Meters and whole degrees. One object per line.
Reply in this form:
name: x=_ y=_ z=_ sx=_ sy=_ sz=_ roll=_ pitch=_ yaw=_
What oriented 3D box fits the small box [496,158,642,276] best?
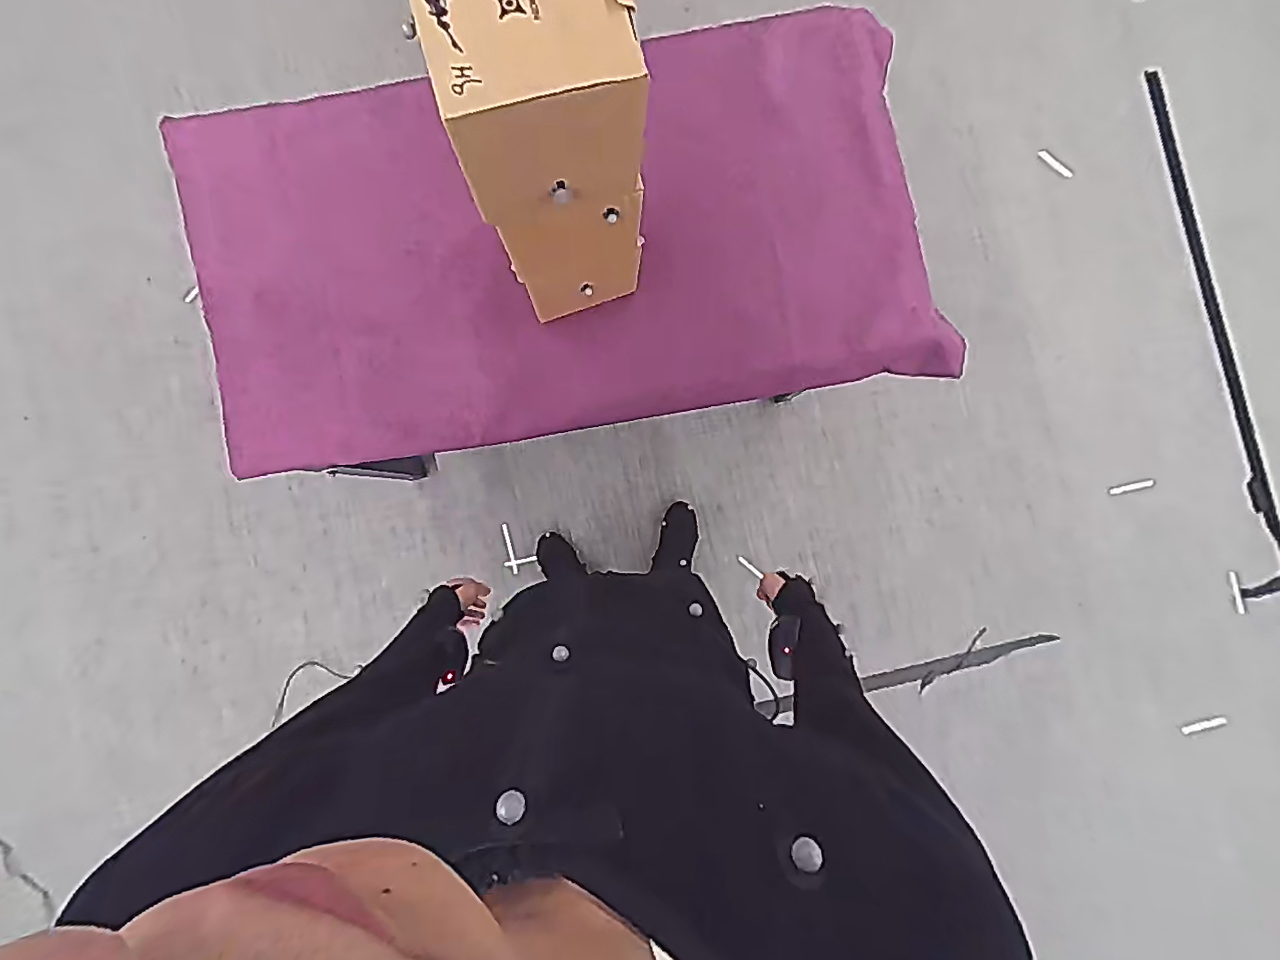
small box: x=-0.104 y=-0.382 z=0.687 sx=0.179 sy=0.176 sz=0.168 roll=-15 pitch=89 yaw=-4

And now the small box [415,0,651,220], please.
small box: x=-0.101 y=-0.384 z=0.523 sx=0.179 sy=0.176 sz=0.168 roll=-15 pitch=88 yaw=-5
